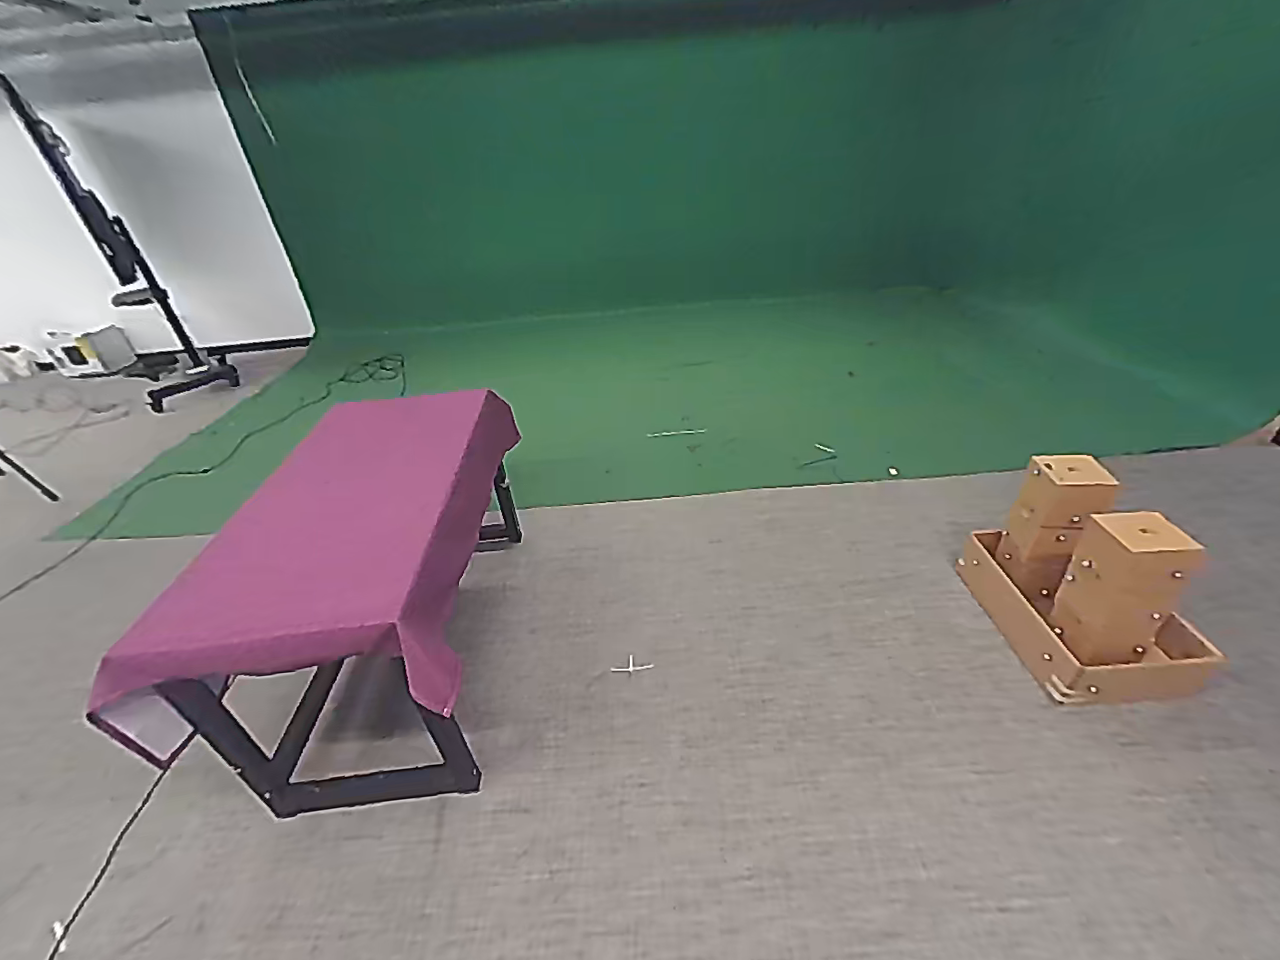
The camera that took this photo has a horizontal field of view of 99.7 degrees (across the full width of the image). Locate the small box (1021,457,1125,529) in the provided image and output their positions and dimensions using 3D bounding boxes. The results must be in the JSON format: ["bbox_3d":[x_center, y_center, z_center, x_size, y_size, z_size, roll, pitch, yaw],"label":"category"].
[{"bbox_3d":[1.360,0.043,1.712,0.179,0.176,0.168,0,33,8],"label":"small box"}]

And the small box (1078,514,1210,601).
[{"bbox_3d":[1.350,0.211,1.465,0.179,0.176,0.168,-3,32,4],"label":"small box"}]

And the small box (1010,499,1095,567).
[{"bbox_3d":[1.377,0.176,1.809,0.179,0.176,0.168,0,34,7],"label":"small box"}]
